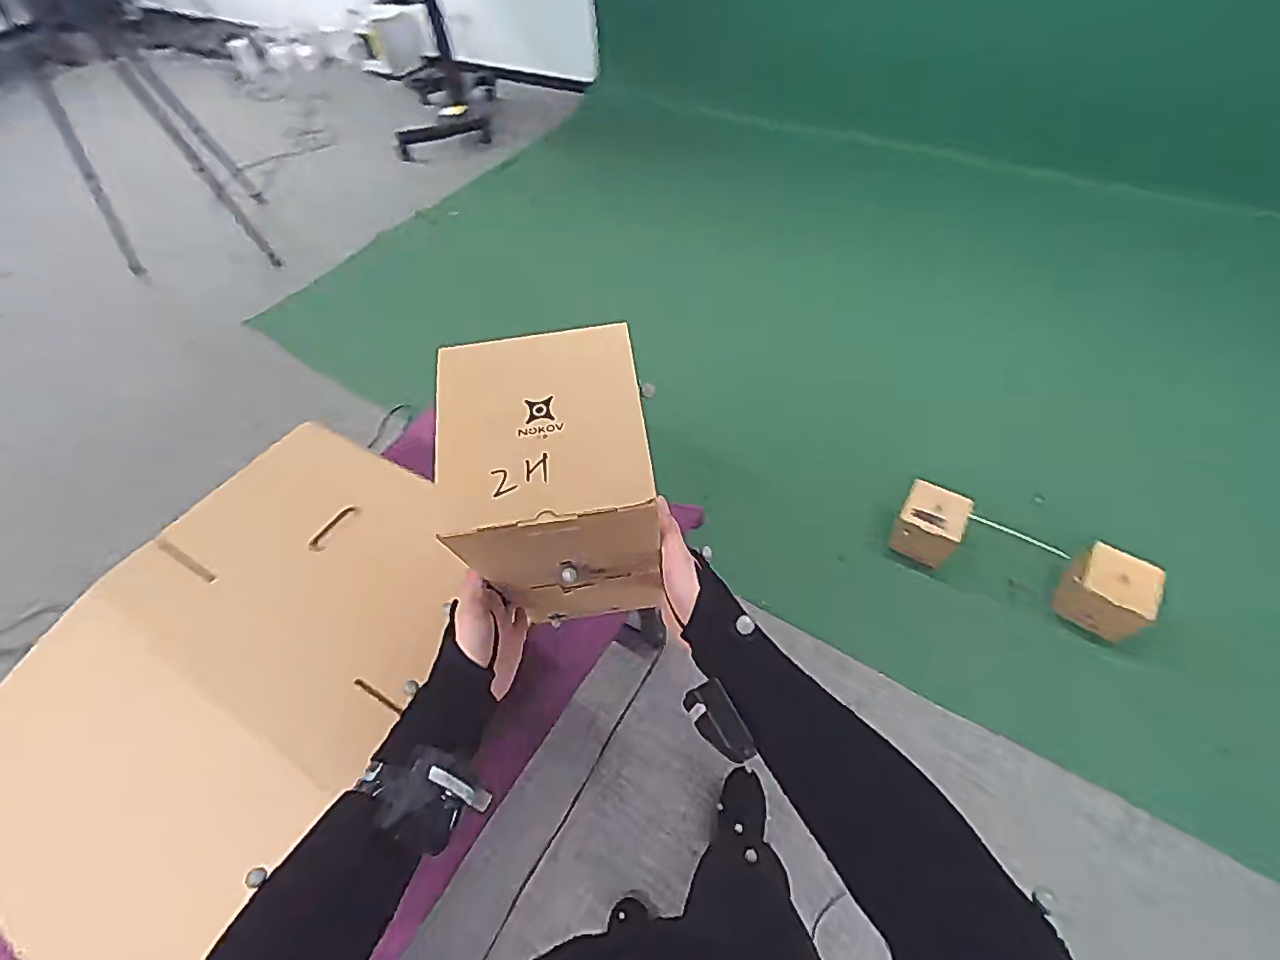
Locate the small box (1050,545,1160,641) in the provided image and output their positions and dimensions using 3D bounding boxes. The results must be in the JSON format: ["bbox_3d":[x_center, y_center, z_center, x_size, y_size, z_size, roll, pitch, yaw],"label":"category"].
[{"bbox_3d":[1.313,0.323,1.536,0.168,0.176,0.179,29,62,22],"label":"small box"}]

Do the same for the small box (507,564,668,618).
[{"bbox_3d":[-0.057,0.061,0.645,0.168,0.176,0.179,-7,64,-1],"label":"small box"}]

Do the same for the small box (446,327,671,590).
[{"bbox_3d":[-0.065,-0.012,0.498,0.168,0.176,0.179,-7,65,0],"label":"small box"}]
